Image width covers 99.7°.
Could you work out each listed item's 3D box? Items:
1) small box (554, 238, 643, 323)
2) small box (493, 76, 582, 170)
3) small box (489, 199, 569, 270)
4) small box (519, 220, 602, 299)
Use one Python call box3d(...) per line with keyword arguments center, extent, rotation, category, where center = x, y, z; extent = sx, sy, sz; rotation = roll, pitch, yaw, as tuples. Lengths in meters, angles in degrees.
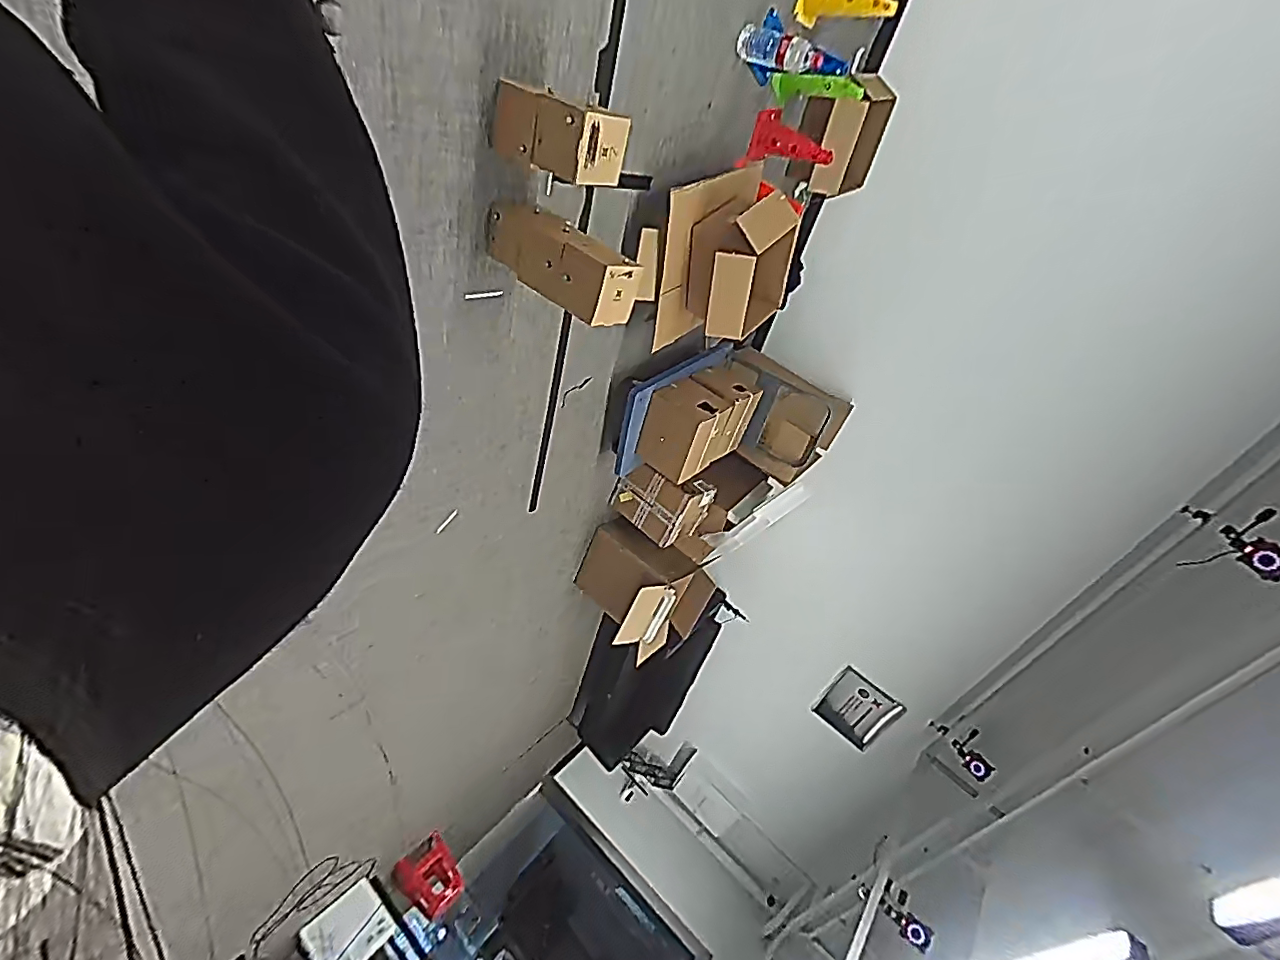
box3d(center=(-0.127, -0.575, 1.566), extent=(0.168, 0.176, 0.179), rotation=(-24, 145, -49), category="small box")
box3d(center=(-0.290, -0.992, 1.505), extent=(0.168, 0.176, 0.179), rotation=(-29, 148, -45), category="small box")
box3d(center=(-0.354, -0.769, 1.703), extent=(0.179, 0.176, 0.168), rotation=(-30, 149, -44), category="small box")
box3d(center=(-0.245, -0.668, 1.631), extent=(0.168, 0.176, 0.179), rotation=(-27, 147, -46), category="small box")
